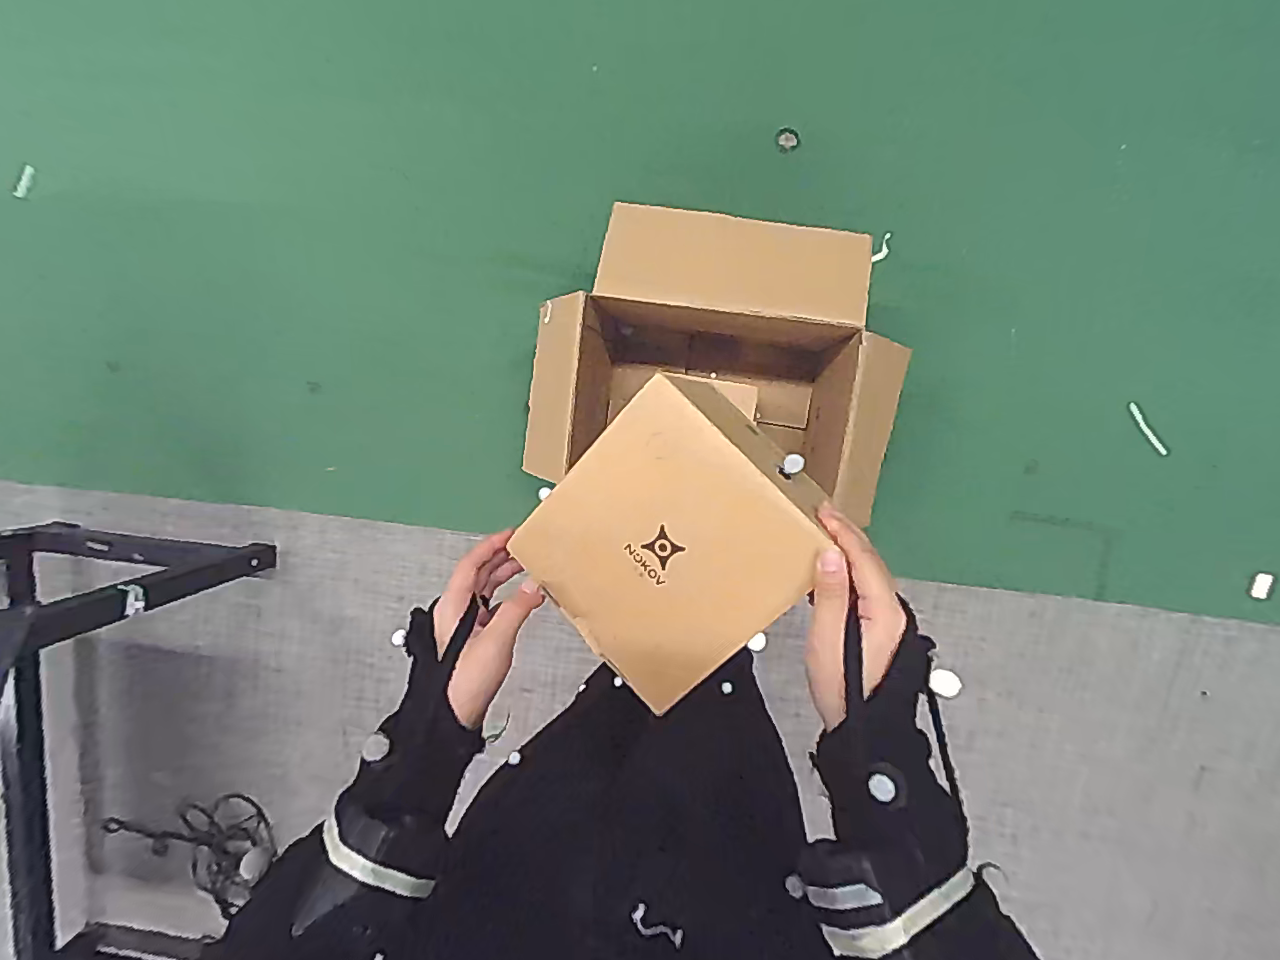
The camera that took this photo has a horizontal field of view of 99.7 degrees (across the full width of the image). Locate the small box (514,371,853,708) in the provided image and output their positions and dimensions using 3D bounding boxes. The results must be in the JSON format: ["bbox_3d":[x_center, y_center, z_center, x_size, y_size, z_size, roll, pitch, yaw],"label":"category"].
[{"bbox_3d":[0.041,0.033,0.436,0.168,0.176,0.179,46,109,8],"label":"small box"}]
